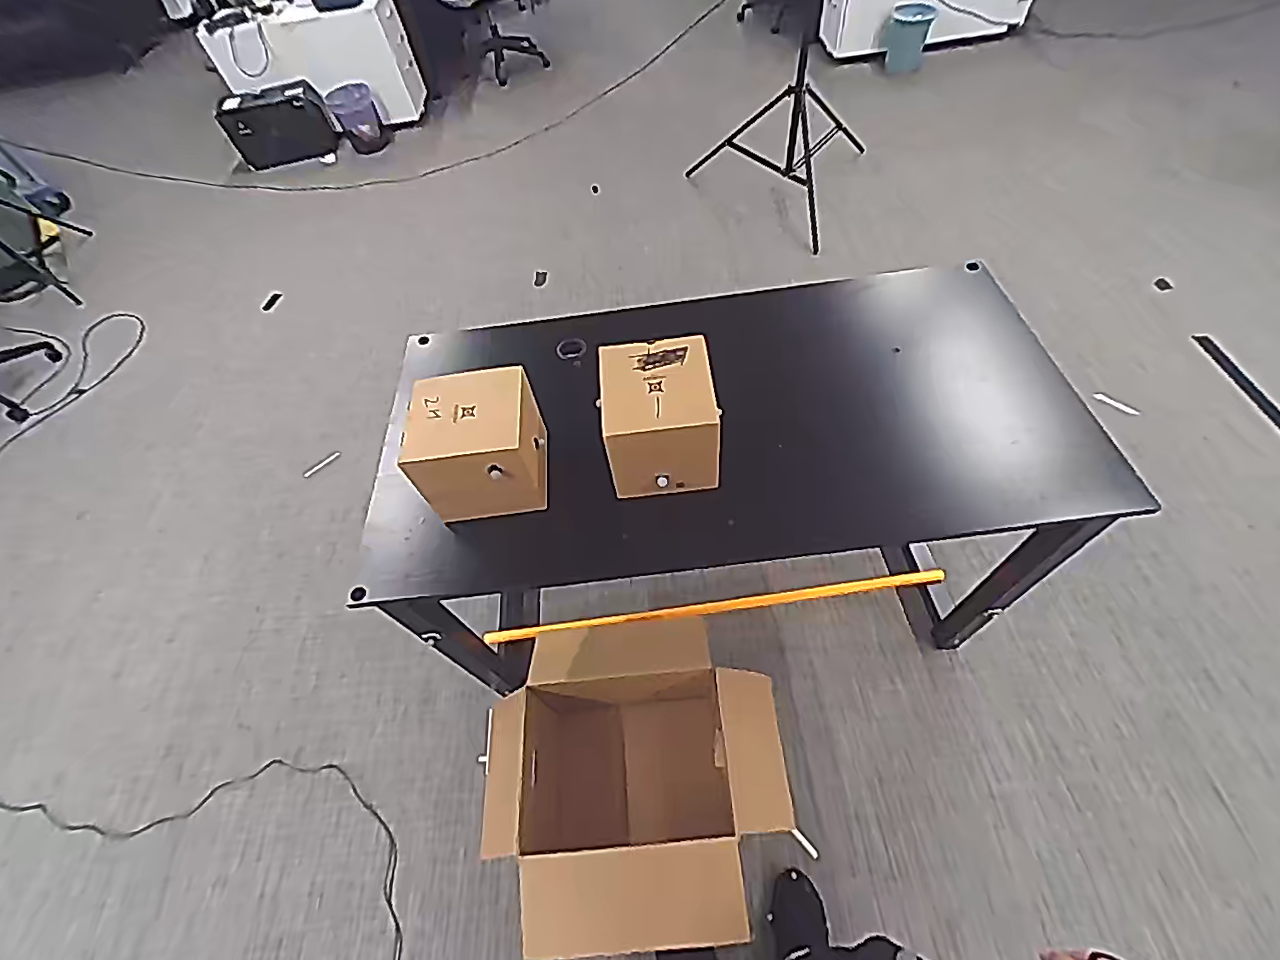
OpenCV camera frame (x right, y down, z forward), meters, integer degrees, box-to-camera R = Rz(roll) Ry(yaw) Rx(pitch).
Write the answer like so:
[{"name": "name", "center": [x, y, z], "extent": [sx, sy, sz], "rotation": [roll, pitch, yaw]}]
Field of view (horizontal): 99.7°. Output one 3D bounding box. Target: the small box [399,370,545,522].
[{"name": "small box", "center": [-0.254, -0.050, 0.866], "extent": [0.179, 0.176, 0.168], "rotation": [-7, 55, 1]}]

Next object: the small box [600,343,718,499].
[{"name": "small box", "center": [0.029, -0.090, 0.862], "extent": [0.168, 0.176, 0.179], "rotation": [-6, 56, 3]}]
